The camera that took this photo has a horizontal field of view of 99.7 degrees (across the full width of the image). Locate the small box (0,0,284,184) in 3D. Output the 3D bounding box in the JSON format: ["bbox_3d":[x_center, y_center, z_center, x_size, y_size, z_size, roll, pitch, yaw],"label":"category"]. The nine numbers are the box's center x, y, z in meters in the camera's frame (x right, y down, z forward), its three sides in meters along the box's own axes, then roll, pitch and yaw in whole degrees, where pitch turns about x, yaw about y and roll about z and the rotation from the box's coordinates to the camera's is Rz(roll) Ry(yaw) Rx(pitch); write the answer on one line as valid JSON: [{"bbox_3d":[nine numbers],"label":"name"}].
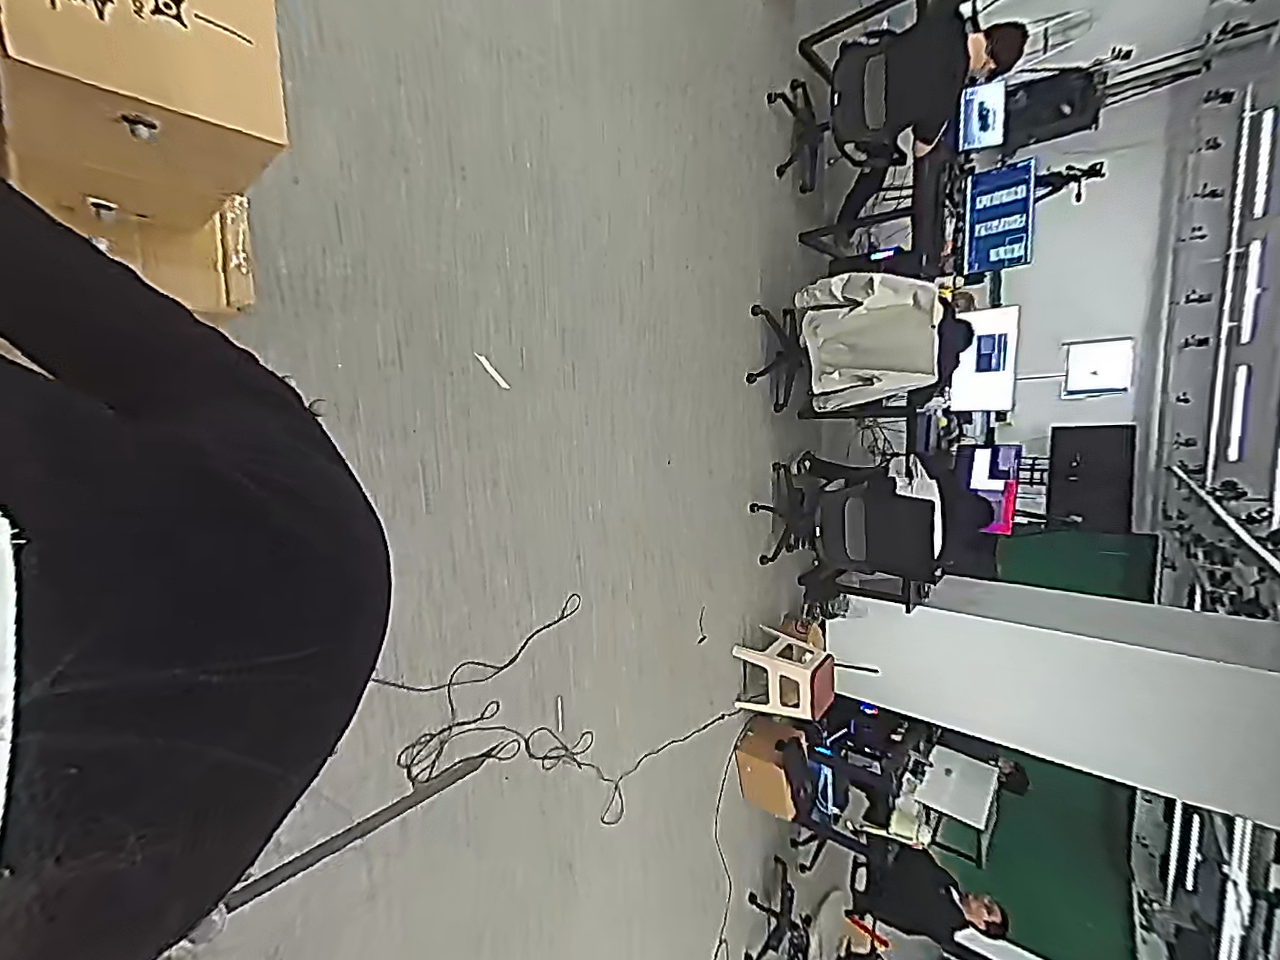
[{"bbox_3d":[-0.450,-0.394,0.486,0.179,0.176,0.168,-8,100,-48],"label":"small box"}]

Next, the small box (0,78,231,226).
[{"bbox_3d":[-0.576,-0.404,0.592,0.168,0.176,0.179,-9,102,-47],"label":"small box"}]
